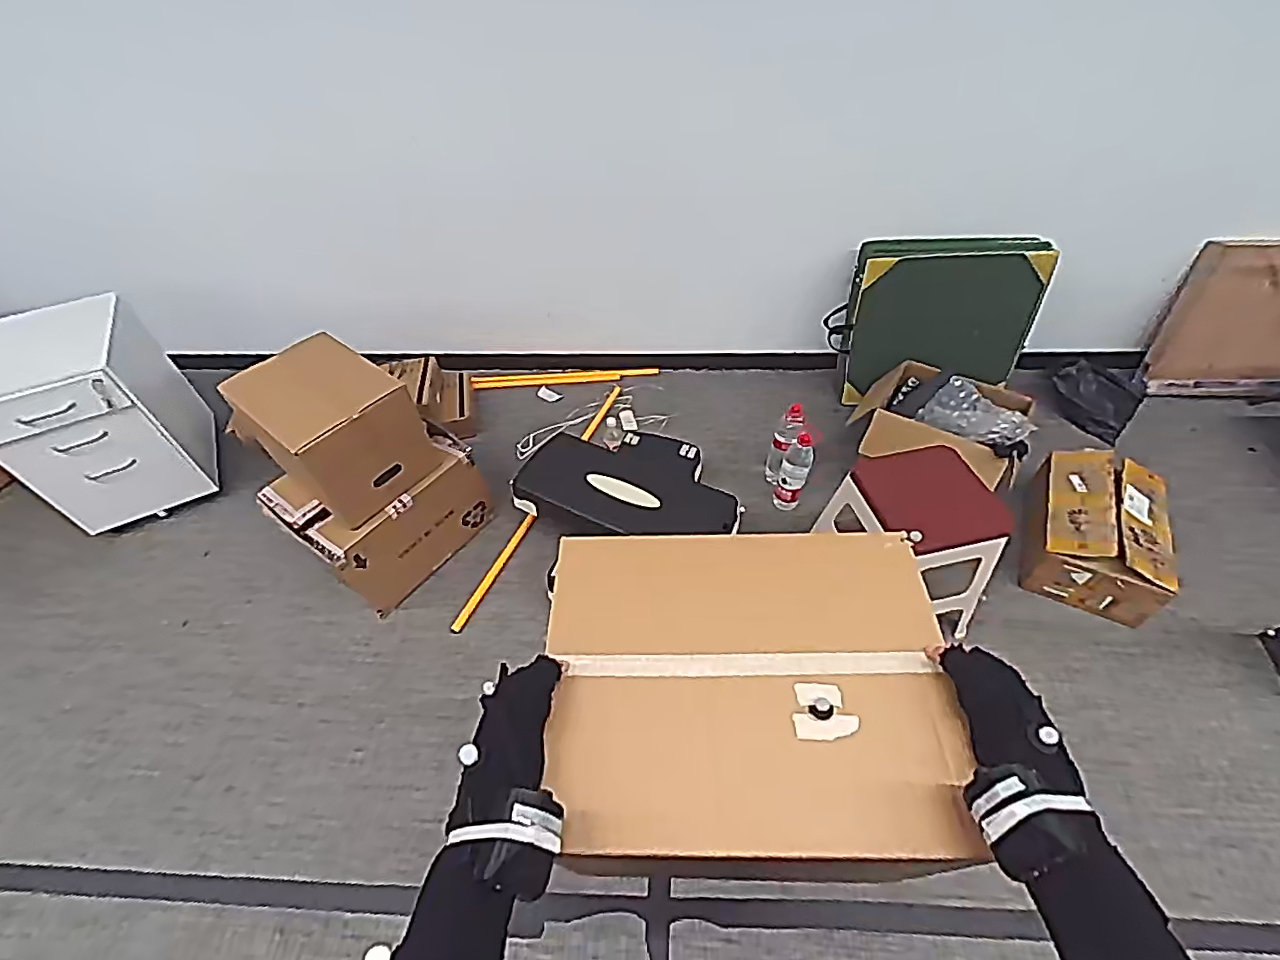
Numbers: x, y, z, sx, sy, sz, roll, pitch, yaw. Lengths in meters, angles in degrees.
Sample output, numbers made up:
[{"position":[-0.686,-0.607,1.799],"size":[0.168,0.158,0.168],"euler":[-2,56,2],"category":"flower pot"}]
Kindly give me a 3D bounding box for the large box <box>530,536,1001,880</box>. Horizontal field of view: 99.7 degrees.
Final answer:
[{"position":[0.108,0.284,0.660],"size":[0.408,0.320,0.320],"euler":[-1,51,3],"category":"large box"}]
